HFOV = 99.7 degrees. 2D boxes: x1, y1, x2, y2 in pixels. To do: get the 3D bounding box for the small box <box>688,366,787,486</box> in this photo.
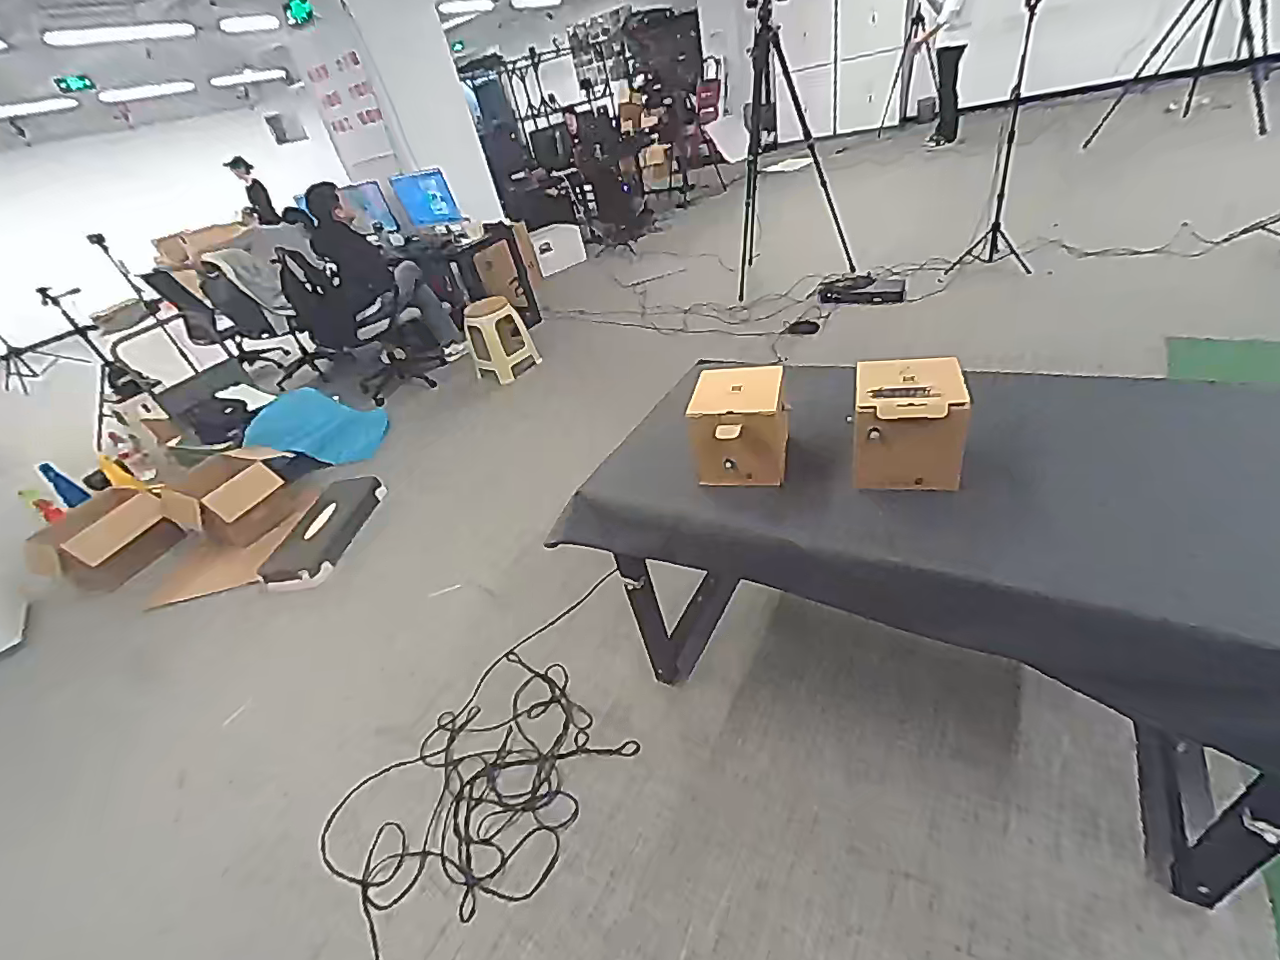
[{"bbox_3d":[0.201,-0.108,1.071,0.168,0.176,0.179,0,39,19],"label":"small box"}]
